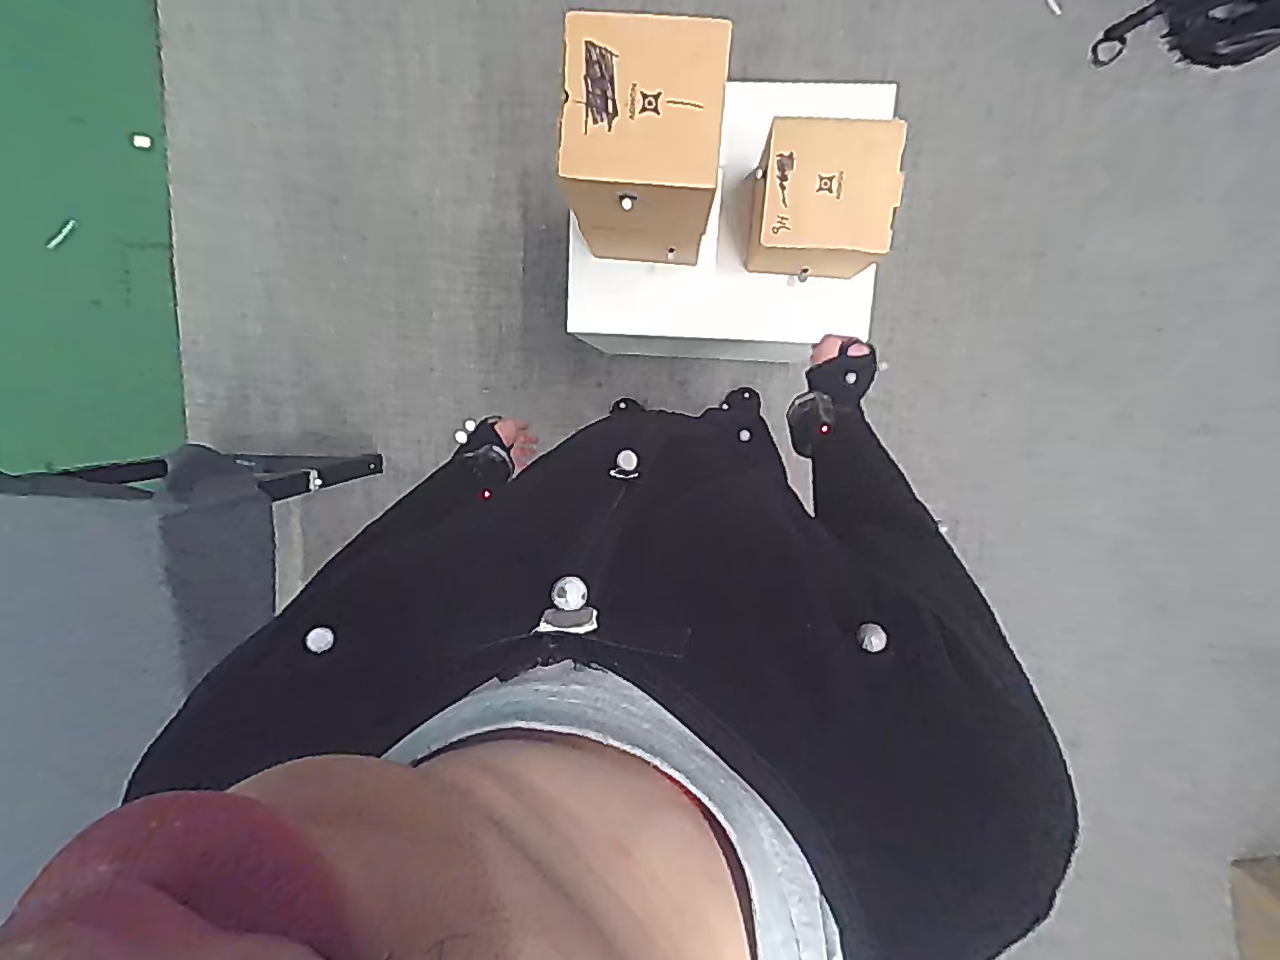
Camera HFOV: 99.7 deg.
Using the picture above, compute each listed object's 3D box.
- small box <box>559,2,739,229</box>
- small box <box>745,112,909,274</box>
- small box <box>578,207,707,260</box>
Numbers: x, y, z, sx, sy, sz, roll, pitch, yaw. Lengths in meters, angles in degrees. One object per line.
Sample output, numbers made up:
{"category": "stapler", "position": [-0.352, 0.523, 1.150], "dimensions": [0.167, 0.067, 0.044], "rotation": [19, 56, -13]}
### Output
{"category": "small box", "position": [0.010, -0.411, 0.639], "dimensions": [0.179, 0.176, 0.168], "rotation": [5, 100, 0]}
{"category": "small box", "position": [0.260, -0.406, 0.794], "dimensions": [0.179, 0.176, 0.168], "rotation": [5, 100, 3]}
{"category": "small box", "position": [0.011, -0.434, 0.802], "dimensions": [0.179, 0.176, 0.168], "rotation": [5, 99, 2]}
